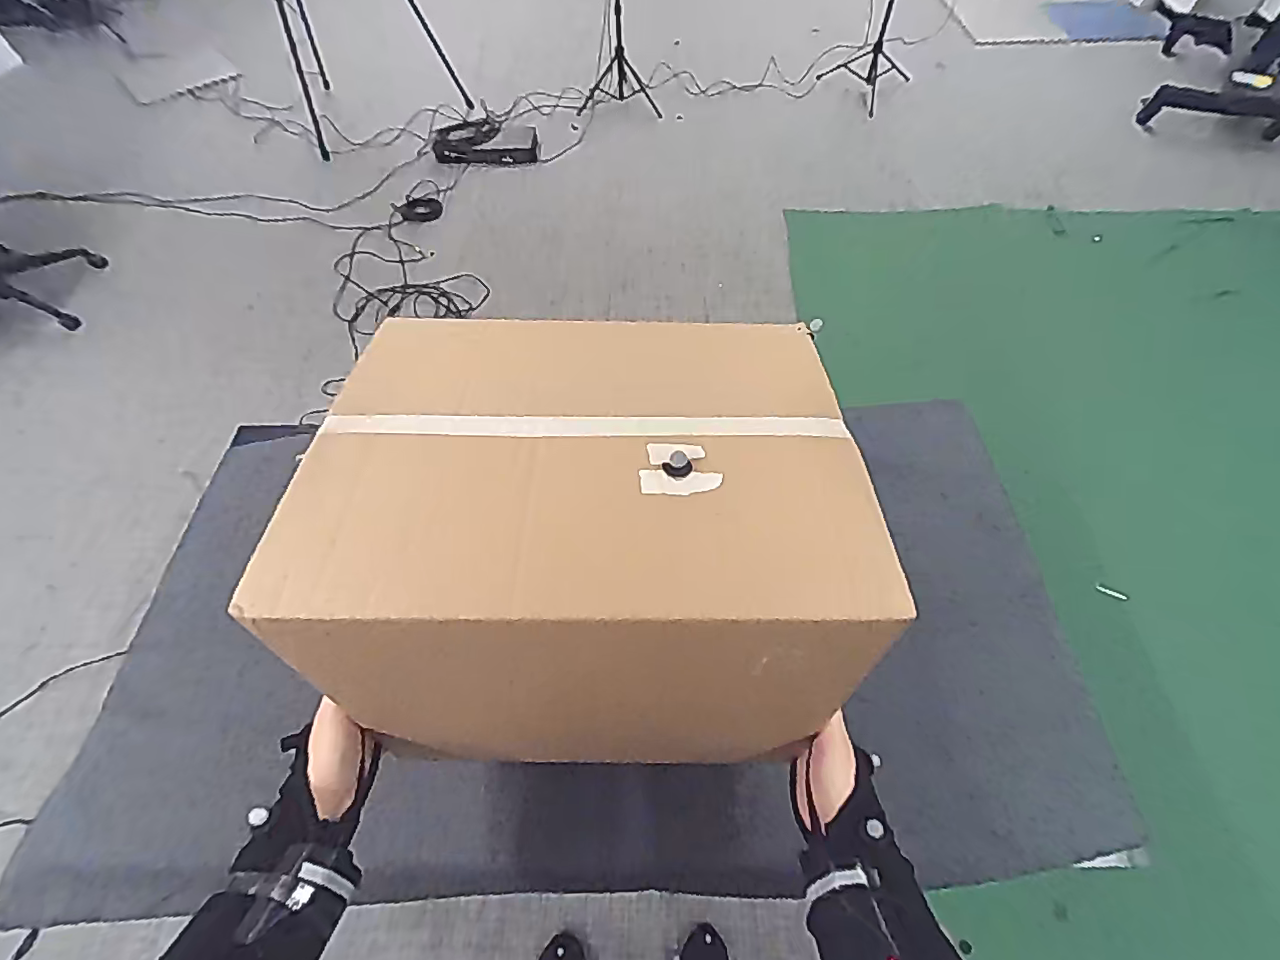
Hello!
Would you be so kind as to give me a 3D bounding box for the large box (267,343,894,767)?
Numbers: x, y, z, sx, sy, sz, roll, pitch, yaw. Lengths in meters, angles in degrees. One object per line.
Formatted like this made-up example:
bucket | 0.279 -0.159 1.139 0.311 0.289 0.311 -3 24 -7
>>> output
large box | -0.042 0.078 0.546 0.408 0.320 0.320 1 49 -2
